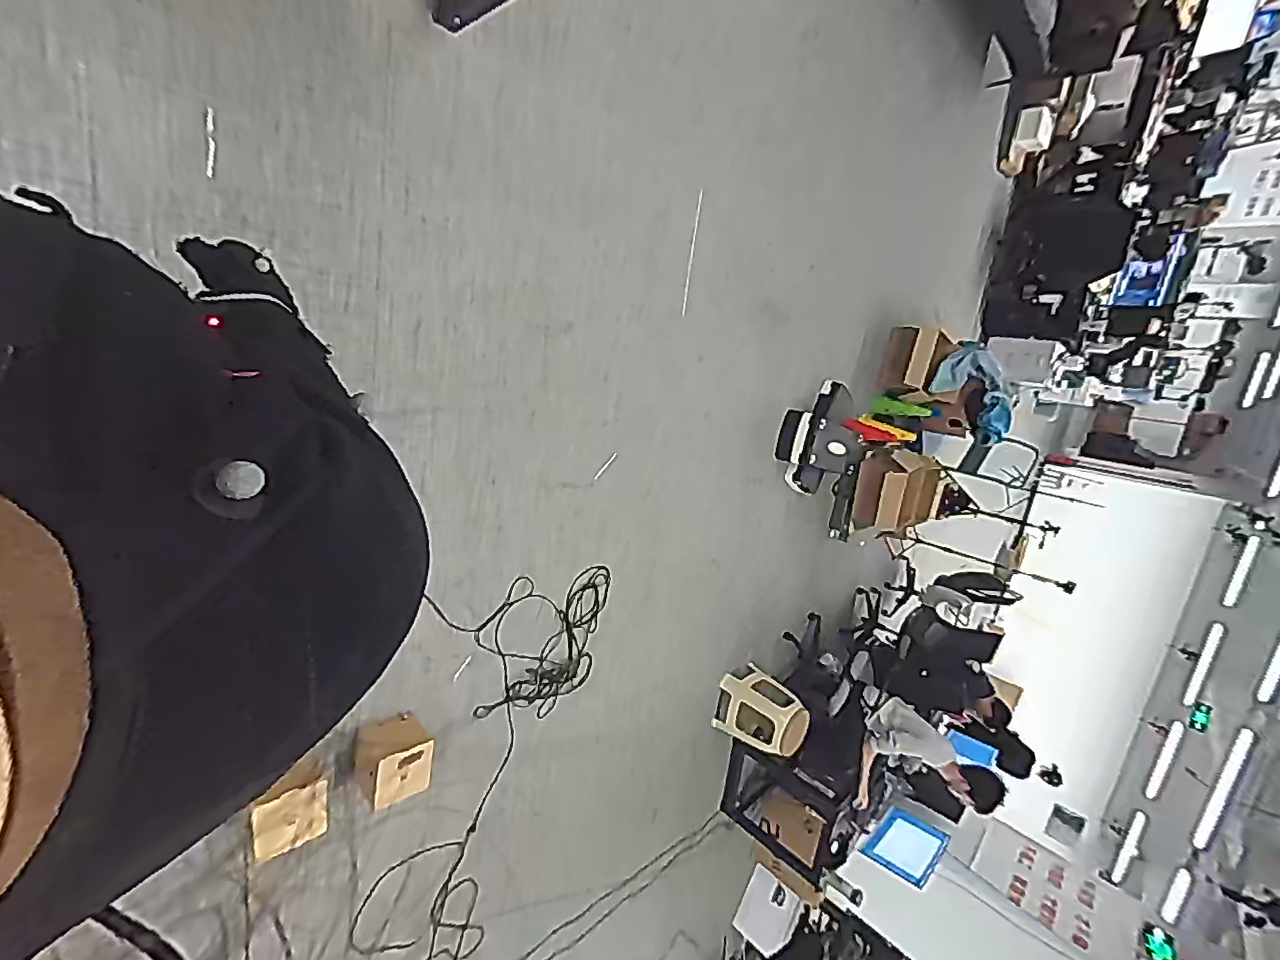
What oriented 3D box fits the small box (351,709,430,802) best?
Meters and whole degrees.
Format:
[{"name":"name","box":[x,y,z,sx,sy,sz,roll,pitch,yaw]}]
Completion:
[{"name":"small box","box":[-0.770,0.834,1.663,0.168,0.176,0.179,-1,106,-47]}]

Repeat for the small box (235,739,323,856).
[{"name":"small box","box":[-0.969,0.841,1.451,0.168,0.176,0.179,-8,109,-46]}]
